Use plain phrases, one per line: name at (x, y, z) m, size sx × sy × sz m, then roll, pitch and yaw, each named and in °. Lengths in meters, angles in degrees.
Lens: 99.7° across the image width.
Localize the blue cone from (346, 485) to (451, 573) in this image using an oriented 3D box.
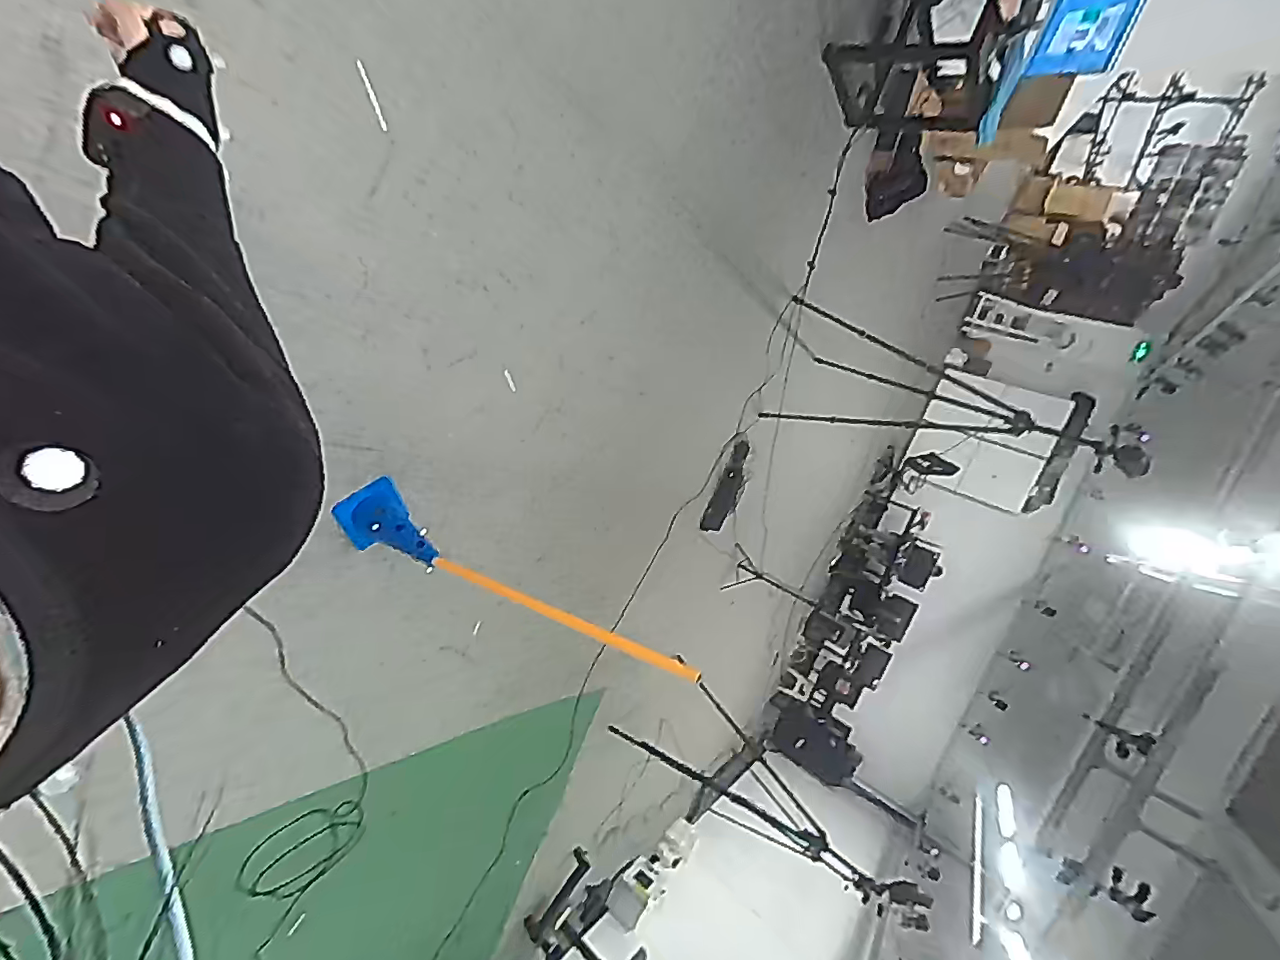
blue cone at (-0.702, 0.181, 1.648) m, size 0.193 × 0.380 × 0.192 m, roll -44°, pitch 143°, yaw -31°
